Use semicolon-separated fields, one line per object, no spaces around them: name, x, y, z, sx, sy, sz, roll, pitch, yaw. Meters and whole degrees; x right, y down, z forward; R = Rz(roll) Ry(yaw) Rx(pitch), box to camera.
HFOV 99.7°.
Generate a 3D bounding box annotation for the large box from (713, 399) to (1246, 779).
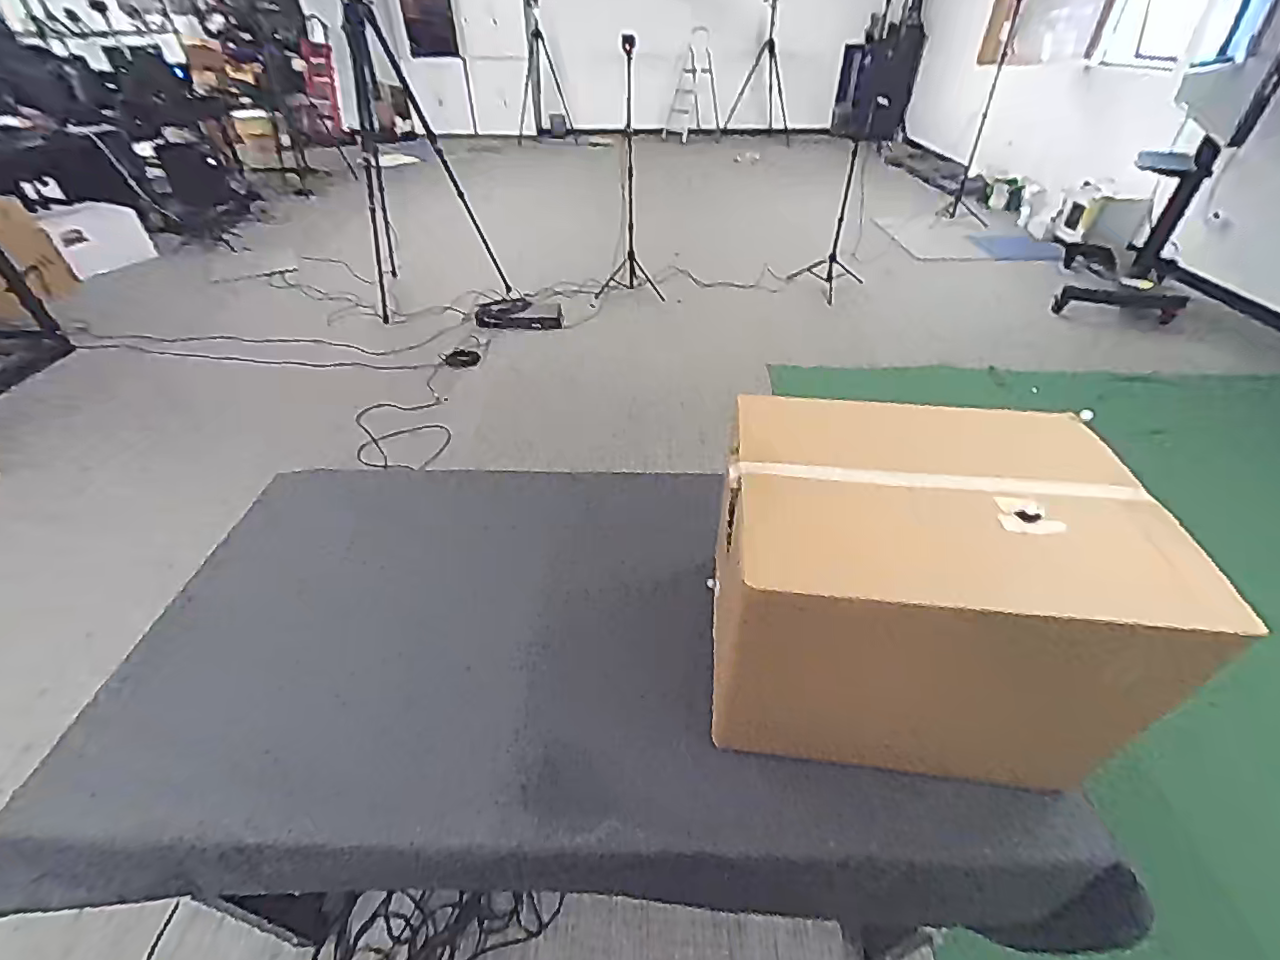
large box;0.303;0.121;0.653;0.408;0.320;0.320;5;41;5
